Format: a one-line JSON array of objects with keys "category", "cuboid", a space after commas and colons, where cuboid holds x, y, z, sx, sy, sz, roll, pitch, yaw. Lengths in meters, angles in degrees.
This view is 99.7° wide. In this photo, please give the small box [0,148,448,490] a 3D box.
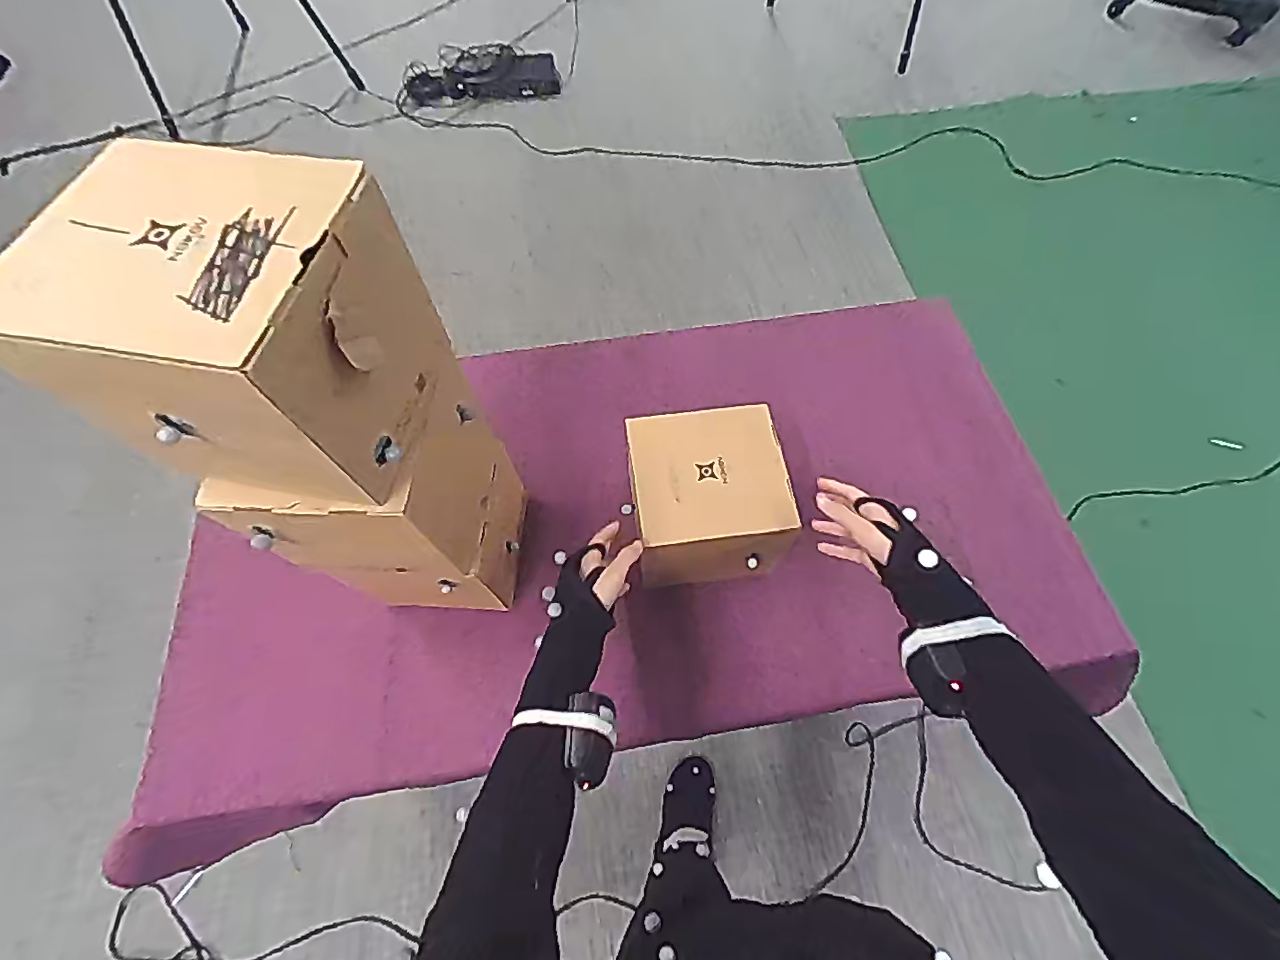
[{"category": "small box", "cuboid": [-0.267, -0.106, 0.399, 0.179, 0.176, 0.168, 8, 63, 5]}]

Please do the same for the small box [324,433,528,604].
[{"category": "small box", "cuboid": [-0.252, 0.055, 0.687, 0.179, 0.176, 0.168, 2, 63, 0]}]

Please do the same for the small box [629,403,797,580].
[{"category": "small box", "cuboid": [0.080, 0.021, 0.701, 0.179, 0.176, 0.168, -7, 63, -3]}]
